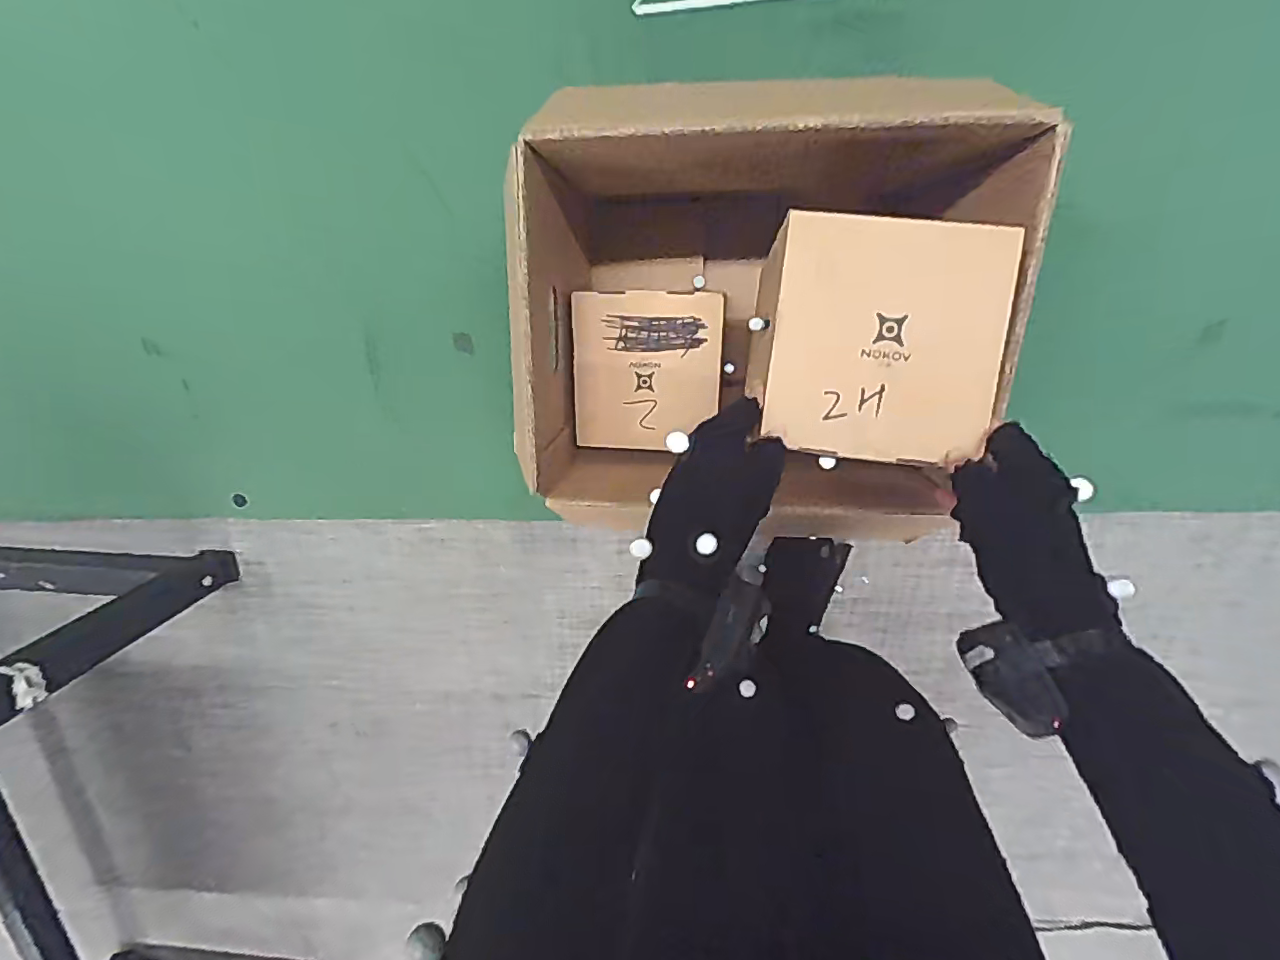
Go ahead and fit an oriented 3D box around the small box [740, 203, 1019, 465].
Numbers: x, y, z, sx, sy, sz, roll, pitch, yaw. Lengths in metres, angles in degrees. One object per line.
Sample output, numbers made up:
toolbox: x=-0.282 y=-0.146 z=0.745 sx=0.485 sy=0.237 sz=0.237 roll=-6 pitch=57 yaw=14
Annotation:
small box: x=0.185 y=-0.114 z=0.475 sx=0.168 sy=0.176 sz=0.179 roll=7 pitch=97 yaw=5
